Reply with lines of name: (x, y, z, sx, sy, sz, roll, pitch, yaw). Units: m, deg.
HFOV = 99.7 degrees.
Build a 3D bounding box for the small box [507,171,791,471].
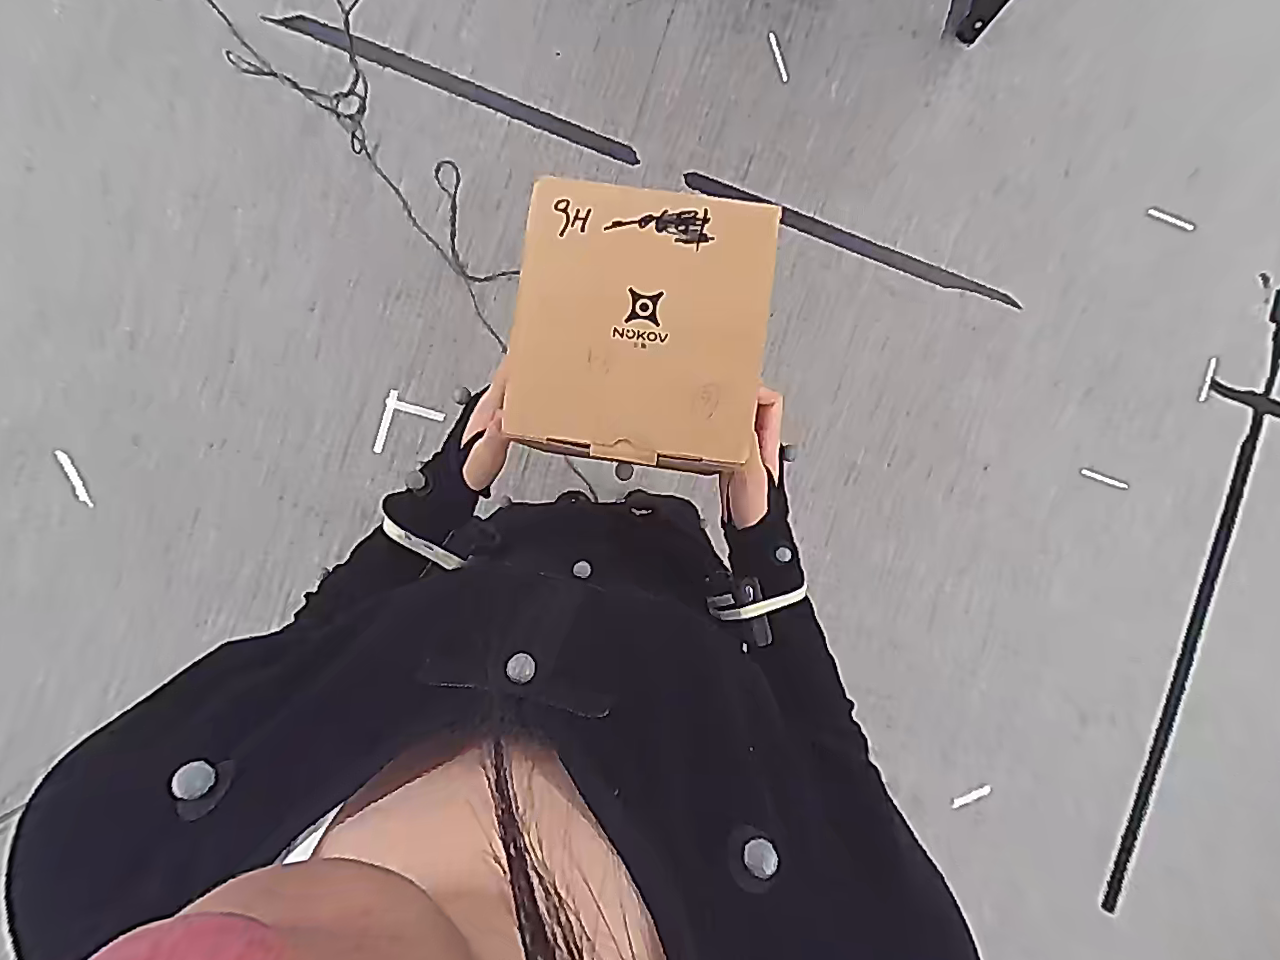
small box: (0.005, -0.103, 0.427, 0.168, 0.176, 0.179, 8, 90, -1)
